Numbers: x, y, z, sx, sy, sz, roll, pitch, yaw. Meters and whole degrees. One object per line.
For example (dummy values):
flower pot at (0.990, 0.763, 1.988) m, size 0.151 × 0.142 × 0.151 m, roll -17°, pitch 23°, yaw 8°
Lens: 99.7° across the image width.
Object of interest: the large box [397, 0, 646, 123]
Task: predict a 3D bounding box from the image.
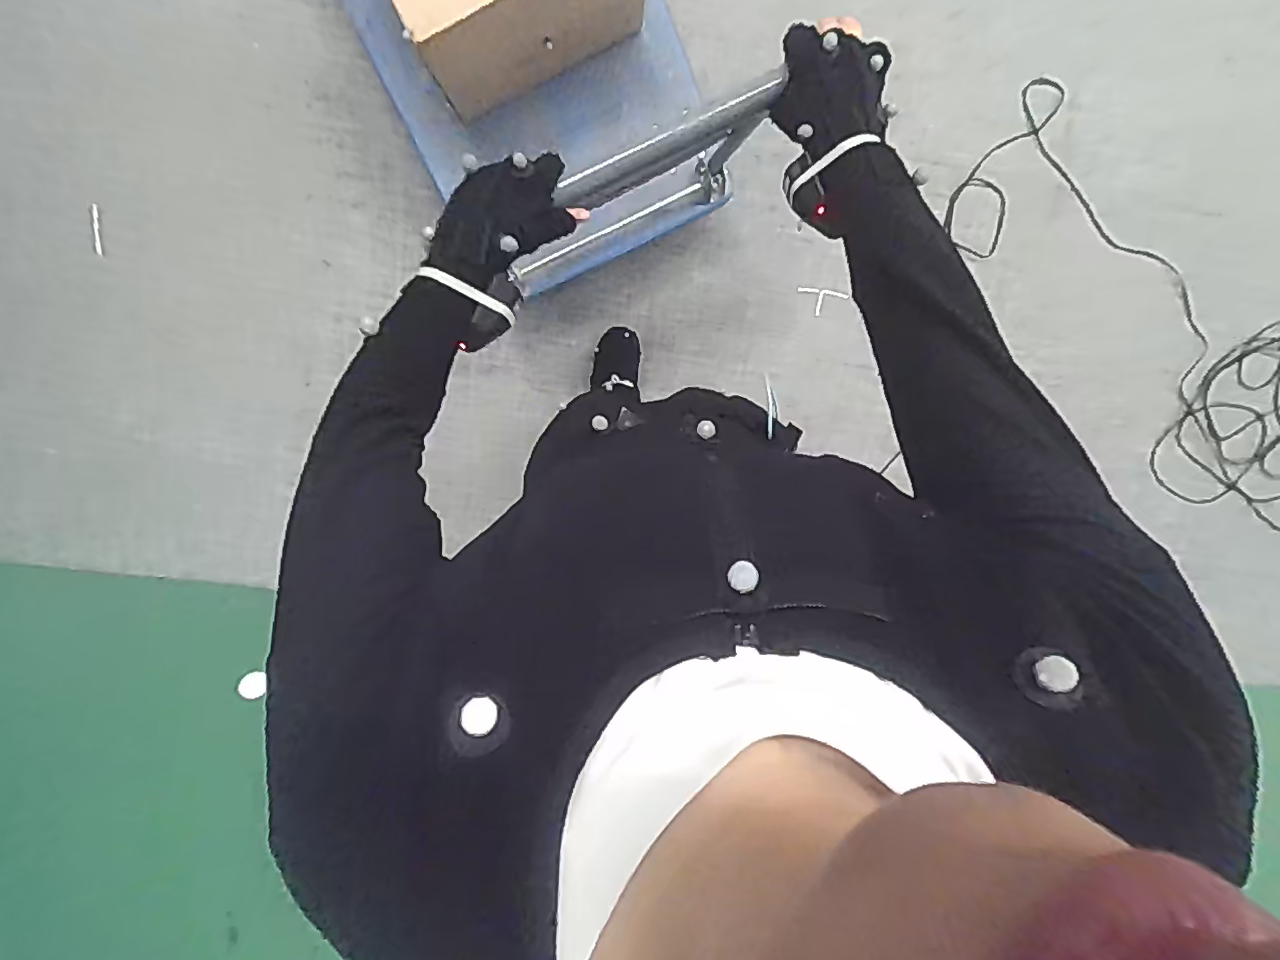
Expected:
large box at (-0.225, -0.904, 0.911) m, size 0.408 × 0.320 × 0.320 m, roll -27°, pitch 104°, yaw 4°
